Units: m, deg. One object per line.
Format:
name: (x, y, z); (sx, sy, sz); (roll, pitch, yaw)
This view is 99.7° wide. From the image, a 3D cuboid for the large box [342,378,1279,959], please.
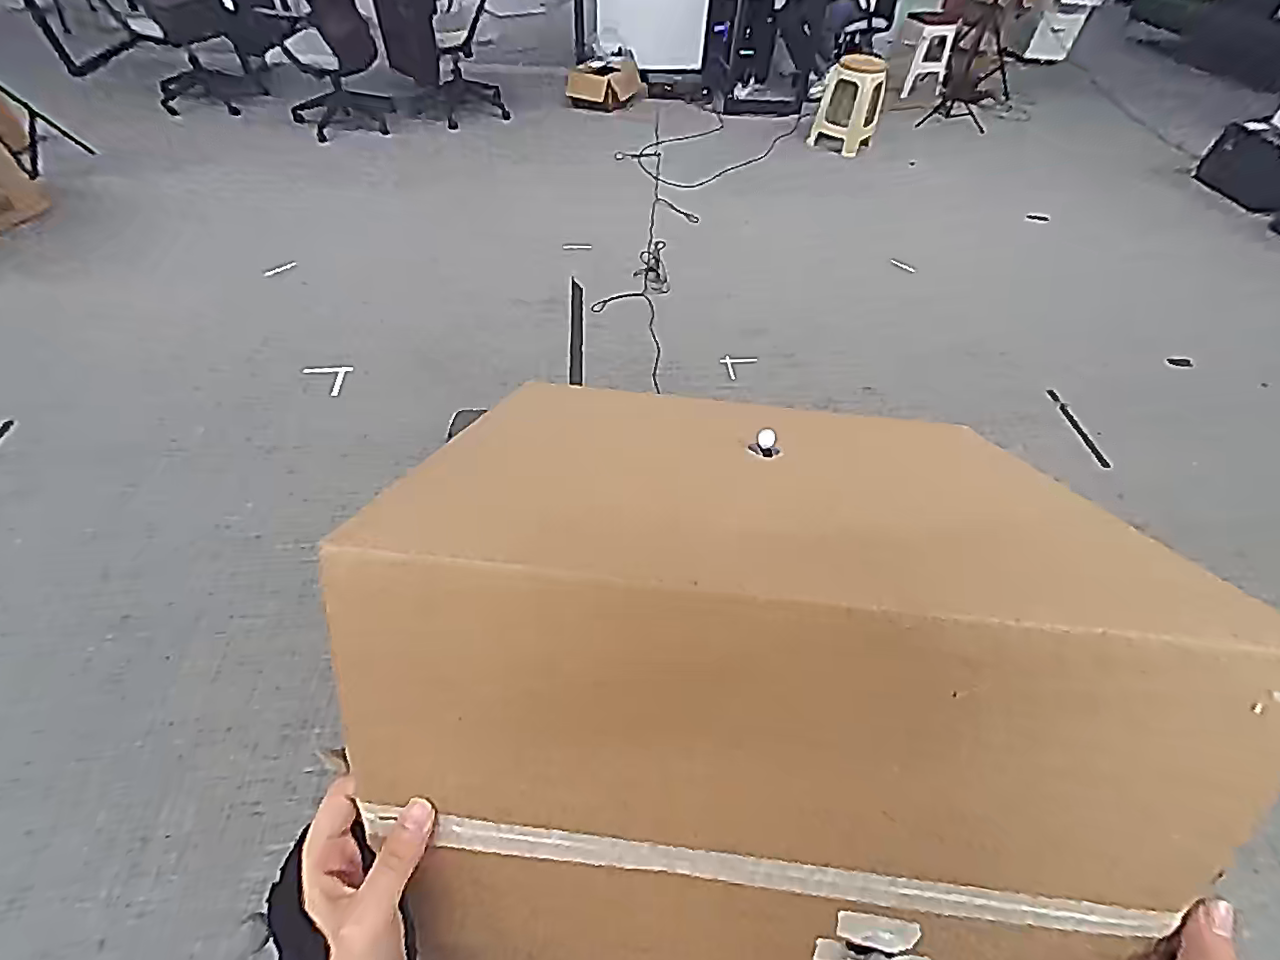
large box: (0.073, 0.112, 0.407); (0.408, 0.320, 0.320); (5, 23, 2)
